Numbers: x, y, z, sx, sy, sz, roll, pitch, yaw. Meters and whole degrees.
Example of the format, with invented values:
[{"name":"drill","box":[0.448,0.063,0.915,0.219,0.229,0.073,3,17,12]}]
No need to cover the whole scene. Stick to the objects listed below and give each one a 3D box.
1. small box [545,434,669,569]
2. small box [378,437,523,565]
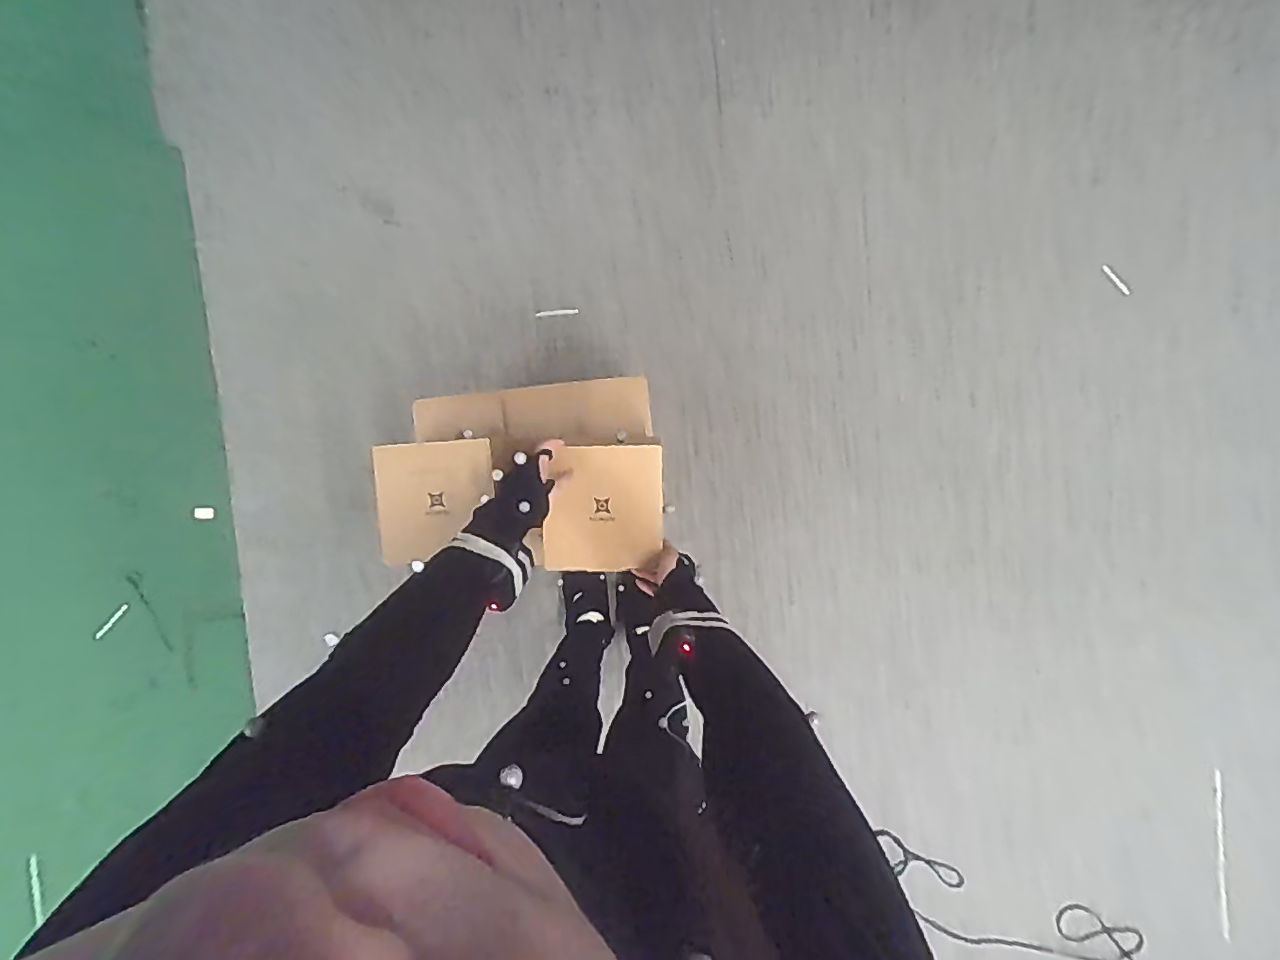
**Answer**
[{"name":"small box","box":[-0.042,0.023,0.803,0.168,0.176,0.179,-1,100,2]},{"name":"small box","box":[-0.283,0.024,0.842,0.168,0.176,0.179,-3,95,-2]}]
